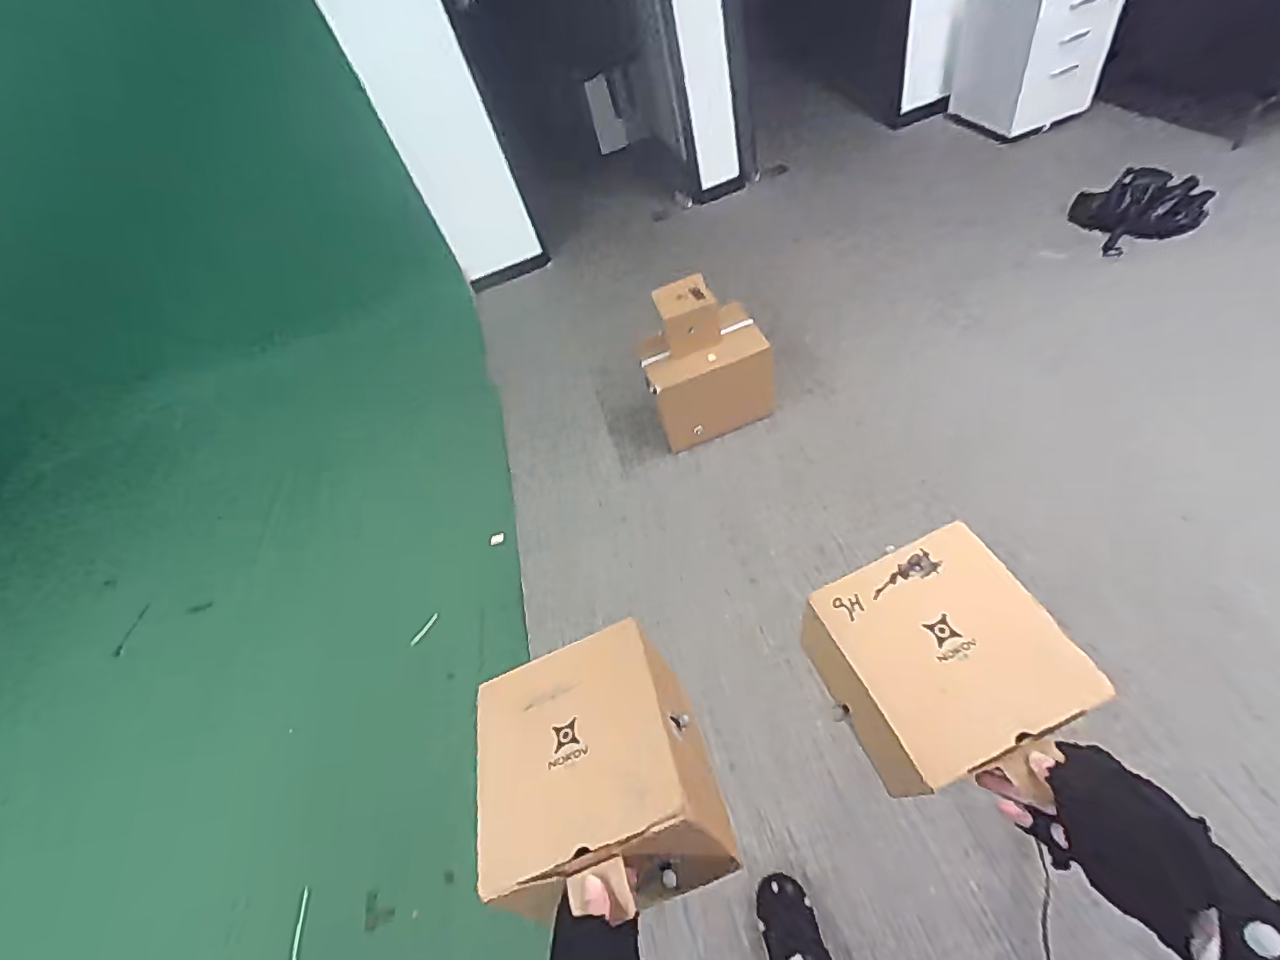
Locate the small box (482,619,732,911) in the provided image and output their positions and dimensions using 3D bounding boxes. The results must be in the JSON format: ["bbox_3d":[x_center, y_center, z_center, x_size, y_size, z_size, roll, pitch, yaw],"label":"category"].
[{"bbox_3d":[-0.031,0.271,0.507,0.168,0.176,0.179,-25,39,4],"label":"small box"}]

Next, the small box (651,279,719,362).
[{"bbox_3d":[0.155,-0.526,1.793,0.179,0.176,0.168,-22,54,0],"label":"small box"}]
